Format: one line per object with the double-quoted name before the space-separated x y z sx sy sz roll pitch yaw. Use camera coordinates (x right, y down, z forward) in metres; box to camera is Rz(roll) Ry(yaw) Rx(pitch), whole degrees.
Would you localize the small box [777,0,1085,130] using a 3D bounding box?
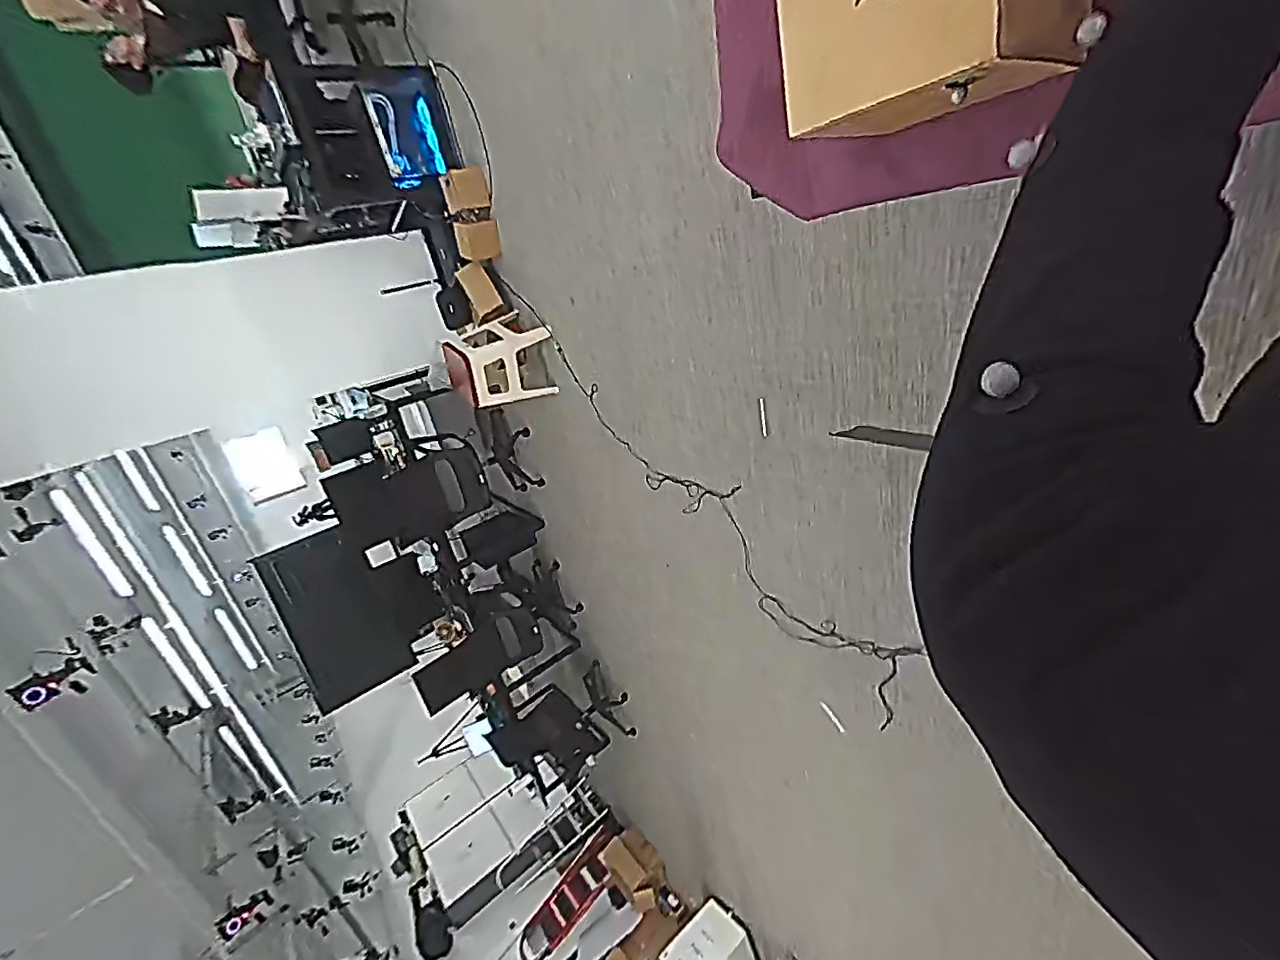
"small box" 0.235 -0.409 0.446 0.179 0.176 0.168 14 124 51
